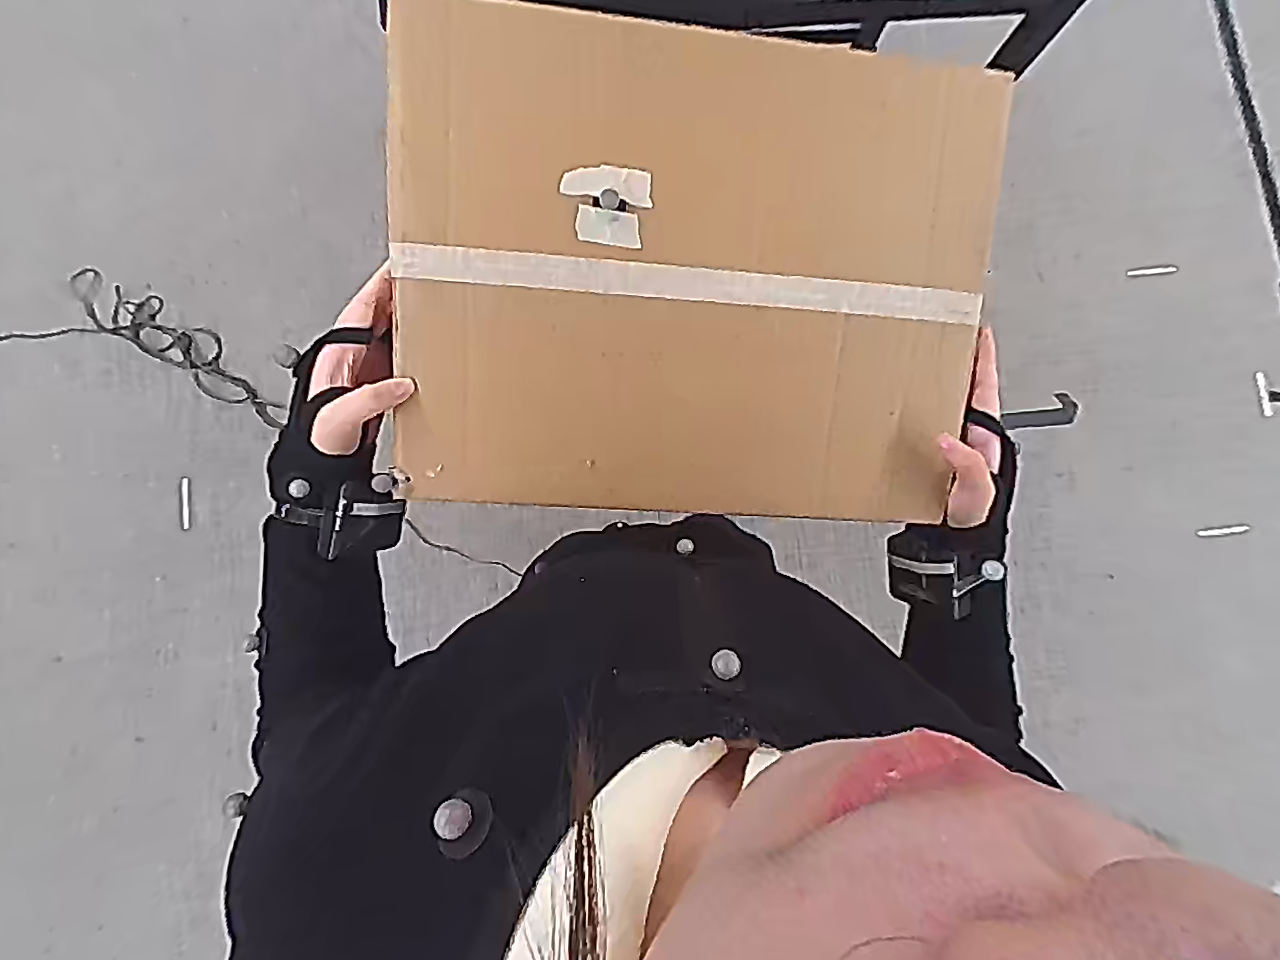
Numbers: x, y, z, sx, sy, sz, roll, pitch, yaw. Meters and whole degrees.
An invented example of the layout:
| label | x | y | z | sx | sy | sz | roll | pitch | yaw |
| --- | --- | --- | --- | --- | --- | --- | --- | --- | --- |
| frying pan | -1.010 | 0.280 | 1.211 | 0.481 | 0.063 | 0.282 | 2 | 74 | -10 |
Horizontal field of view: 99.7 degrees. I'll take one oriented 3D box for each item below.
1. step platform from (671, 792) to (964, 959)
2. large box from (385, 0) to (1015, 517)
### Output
| label | x | y | z | sx | sy | sz | roll | pitch | yaw |
| --- | --- | --- | --- | --- | --- | --- | --- | --- | --- |
| step platform | 0.426 | 0.971 | 1.335 | 0.684 | 0.204 | 0.286 | 0 | 84 | -3 |
| large box | 0.029 | -0.158 | 0.507 | 0.408 | 0.320 | 0.320 | 3 | 100 | -5 |
